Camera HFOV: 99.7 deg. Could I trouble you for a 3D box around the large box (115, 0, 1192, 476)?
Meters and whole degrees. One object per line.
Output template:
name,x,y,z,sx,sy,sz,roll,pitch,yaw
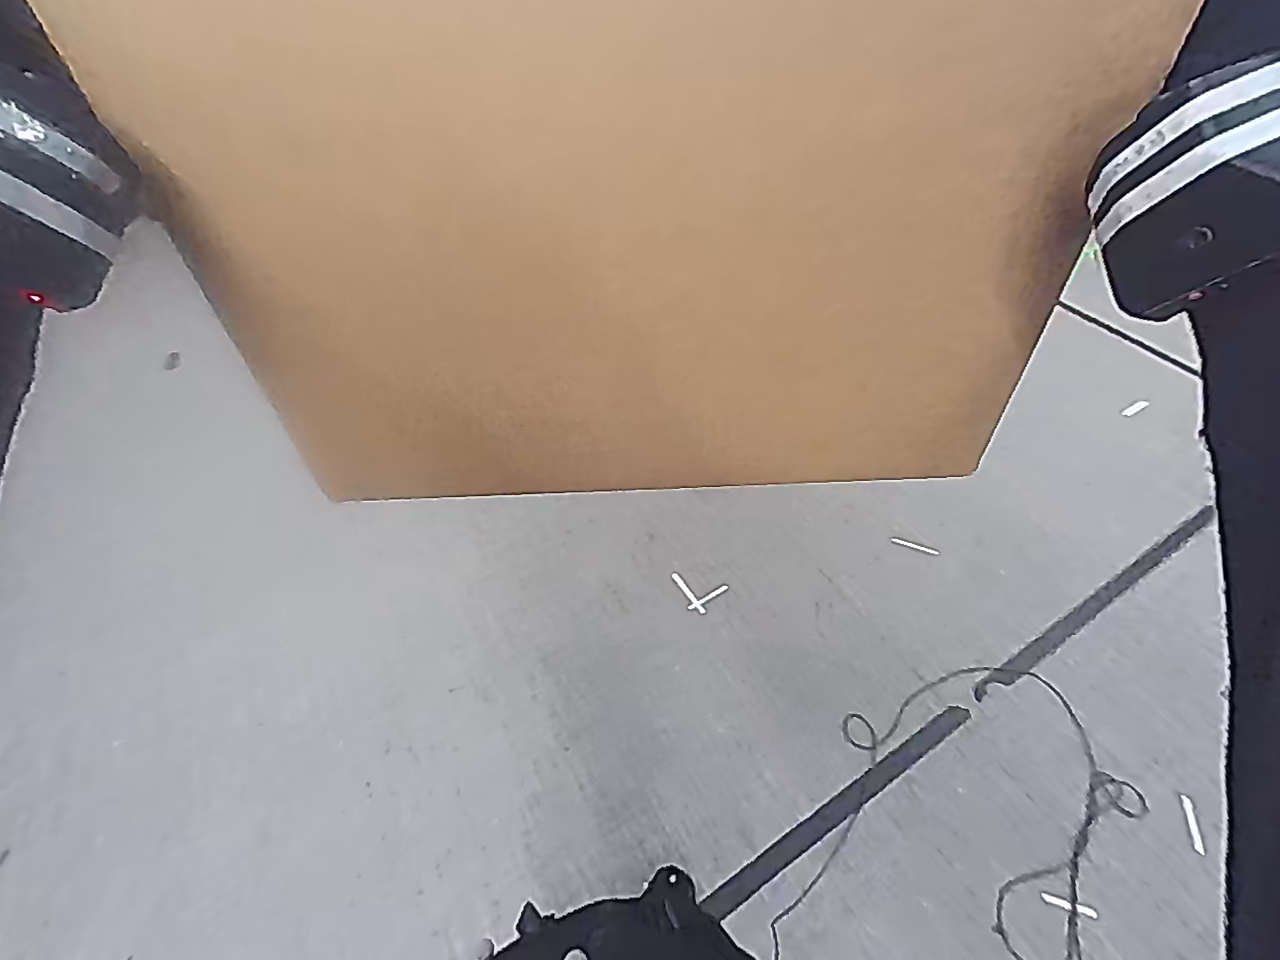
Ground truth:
large box,0.006,-0.217,0.353,0.408,0.320,0.320,-1,42,1
